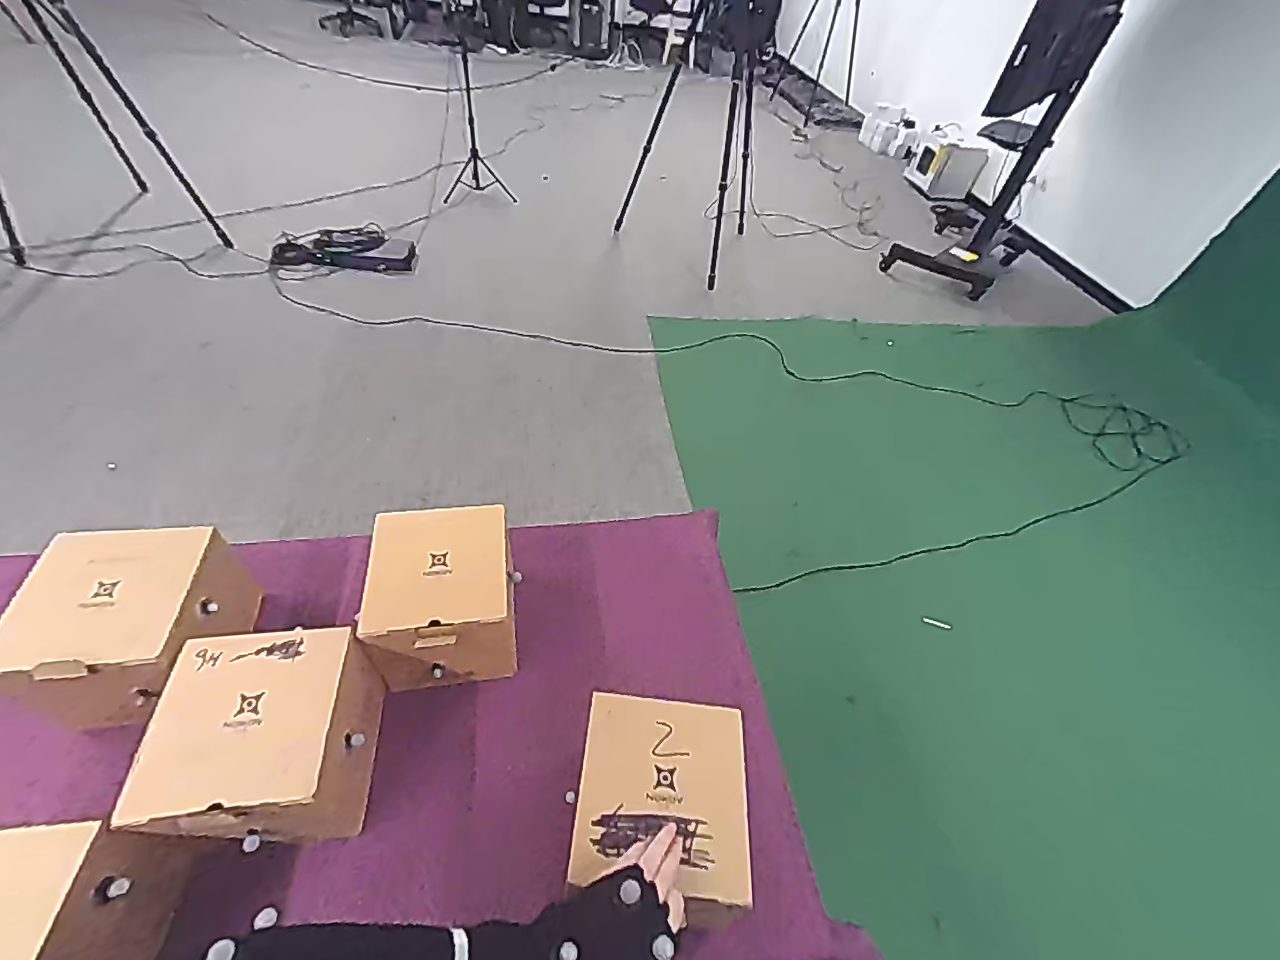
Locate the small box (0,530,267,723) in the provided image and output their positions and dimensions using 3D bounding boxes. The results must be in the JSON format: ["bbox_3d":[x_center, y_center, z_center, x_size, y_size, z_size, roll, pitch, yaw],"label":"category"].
[{"bbox_3d":[-0.596,0.183,0.664,0.168,0.176,0.179,-2,49,-11],"label":"small box"}]

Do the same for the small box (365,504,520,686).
[{"bbox_3d":[-0.255,0.156,0.736,0.168,0.176,0.179,-5,51,-12],"label":"small box"}]

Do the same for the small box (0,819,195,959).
[{"bbox_3d":[-0.535,0.415,0.463,0.168,0.176,0.179,-1,49,-8],"label":"small box"}]
